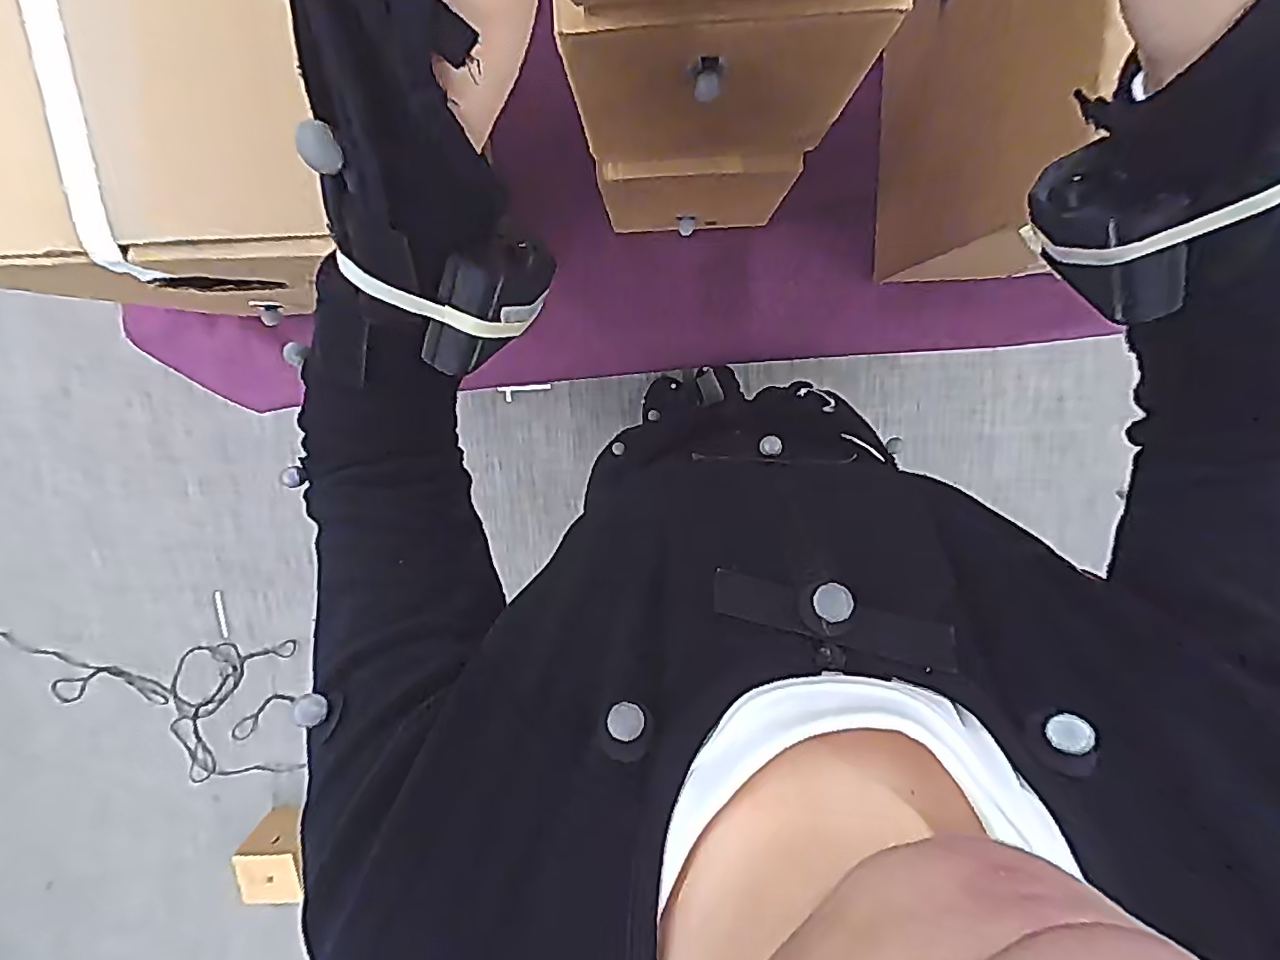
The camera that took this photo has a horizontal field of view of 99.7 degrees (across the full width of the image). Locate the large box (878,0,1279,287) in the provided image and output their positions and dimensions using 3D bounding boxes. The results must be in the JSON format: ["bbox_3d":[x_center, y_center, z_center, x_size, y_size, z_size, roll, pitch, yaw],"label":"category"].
[{"bbox_3d":[0.385,-0.386,0.397,0.320,0.320,0.408,-3,100,3],"label":"large box"}]

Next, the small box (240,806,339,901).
[{"bbox_3d":[-1.014,1.086,1.583,0.179,0.176,0.168,-3,102,4],"label":"small box"}]
